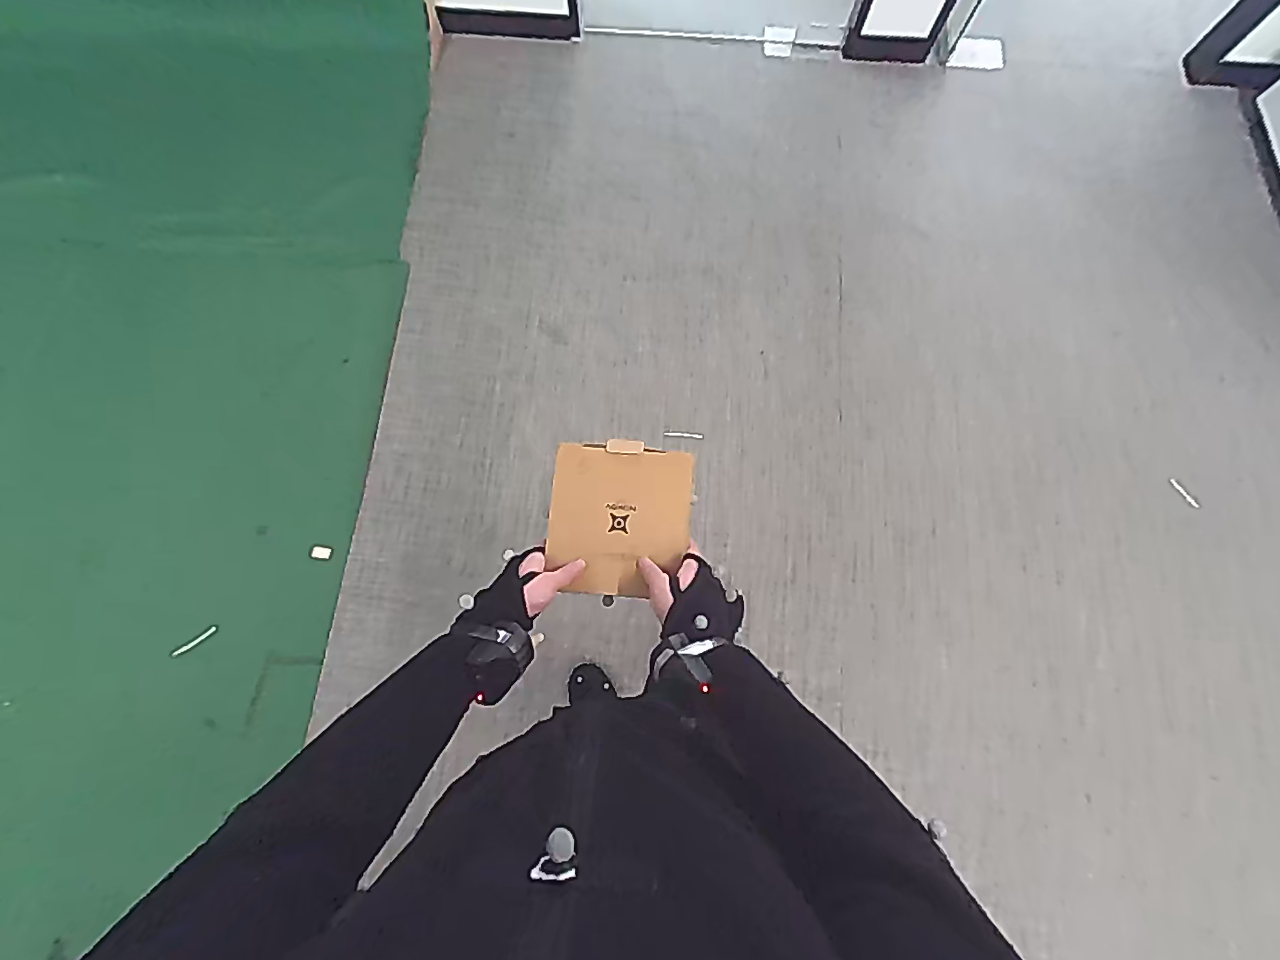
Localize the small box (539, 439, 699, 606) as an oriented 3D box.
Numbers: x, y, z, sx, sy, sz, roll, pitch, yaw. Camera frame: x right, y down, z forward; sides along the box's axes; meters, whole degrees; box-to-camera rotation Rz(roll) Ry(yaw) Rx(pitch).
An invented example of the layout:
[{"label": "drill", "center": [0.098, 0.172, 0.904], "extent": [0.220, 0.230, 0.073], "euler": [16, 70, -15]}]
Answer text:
[{"label": "small box", "center": [-0.021, 0.061, 0.691], "extent": [0.168, 0.176, 0.179], "euler": [6, 79, 3]}]
